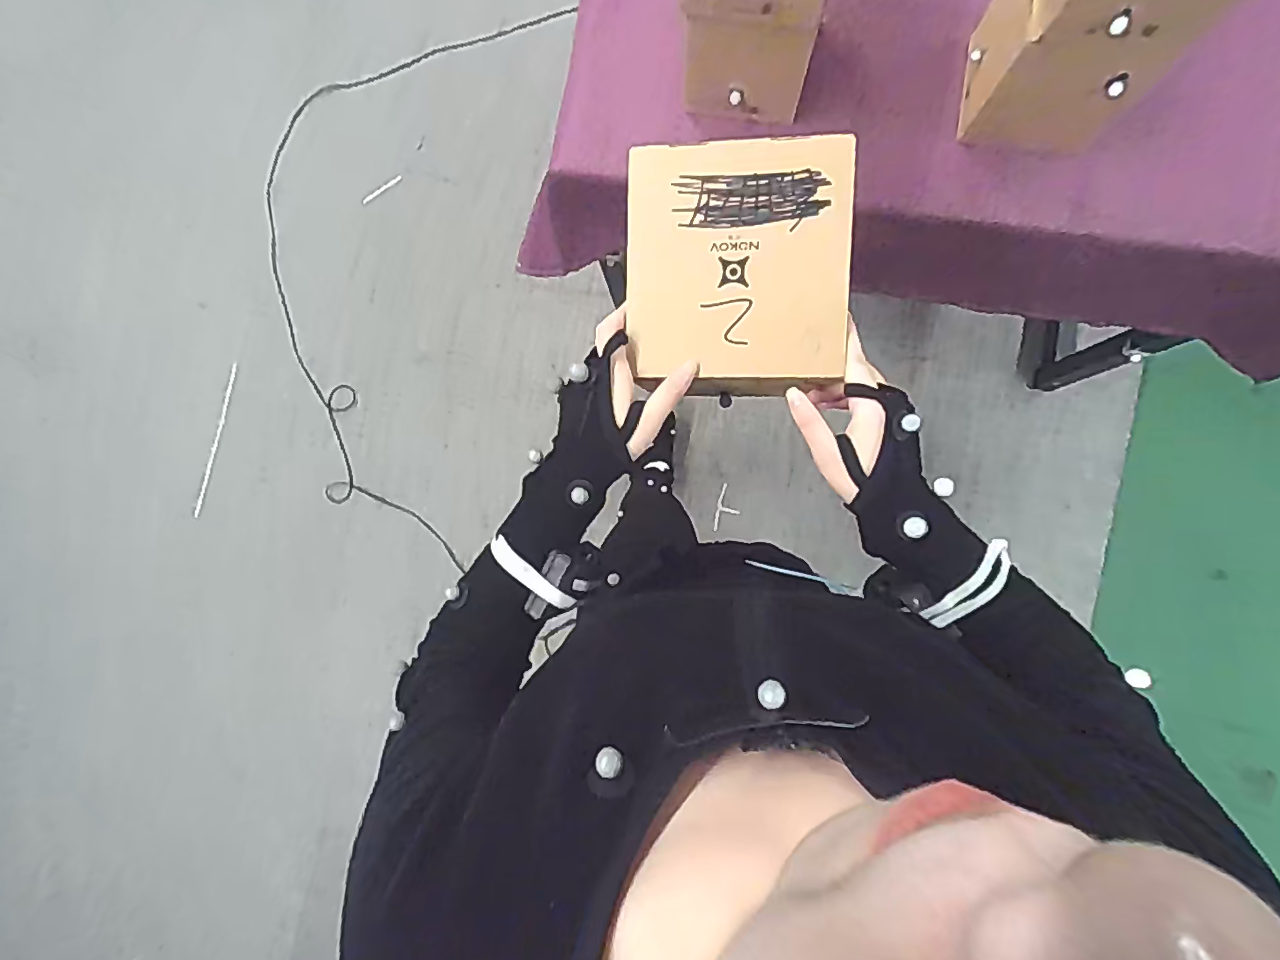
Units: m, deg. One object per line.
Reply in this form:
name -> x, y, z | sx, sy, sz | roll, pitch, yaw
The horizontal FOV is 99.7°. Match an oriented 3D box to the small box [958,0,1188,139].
small box -> 0.554, -0.580, 0.701 | 0.179, 0.176, 0.168 | 11, 86, 6

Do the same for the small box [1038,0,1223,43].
small box -> 0.539, -0.595, 0.539 | 0.168, 0.176, 0.179 | 10, 87, 7

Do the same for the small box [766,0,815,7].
small box -> 0.145, -0.666, 0.579 | 0.168, 0.176, 0.179 | 13, 88, 5

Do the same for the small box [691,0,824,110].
small box -> 0.165, -0.661, 0.742 | 0.168, 0.176, 0.179 | 12, 88, 6
